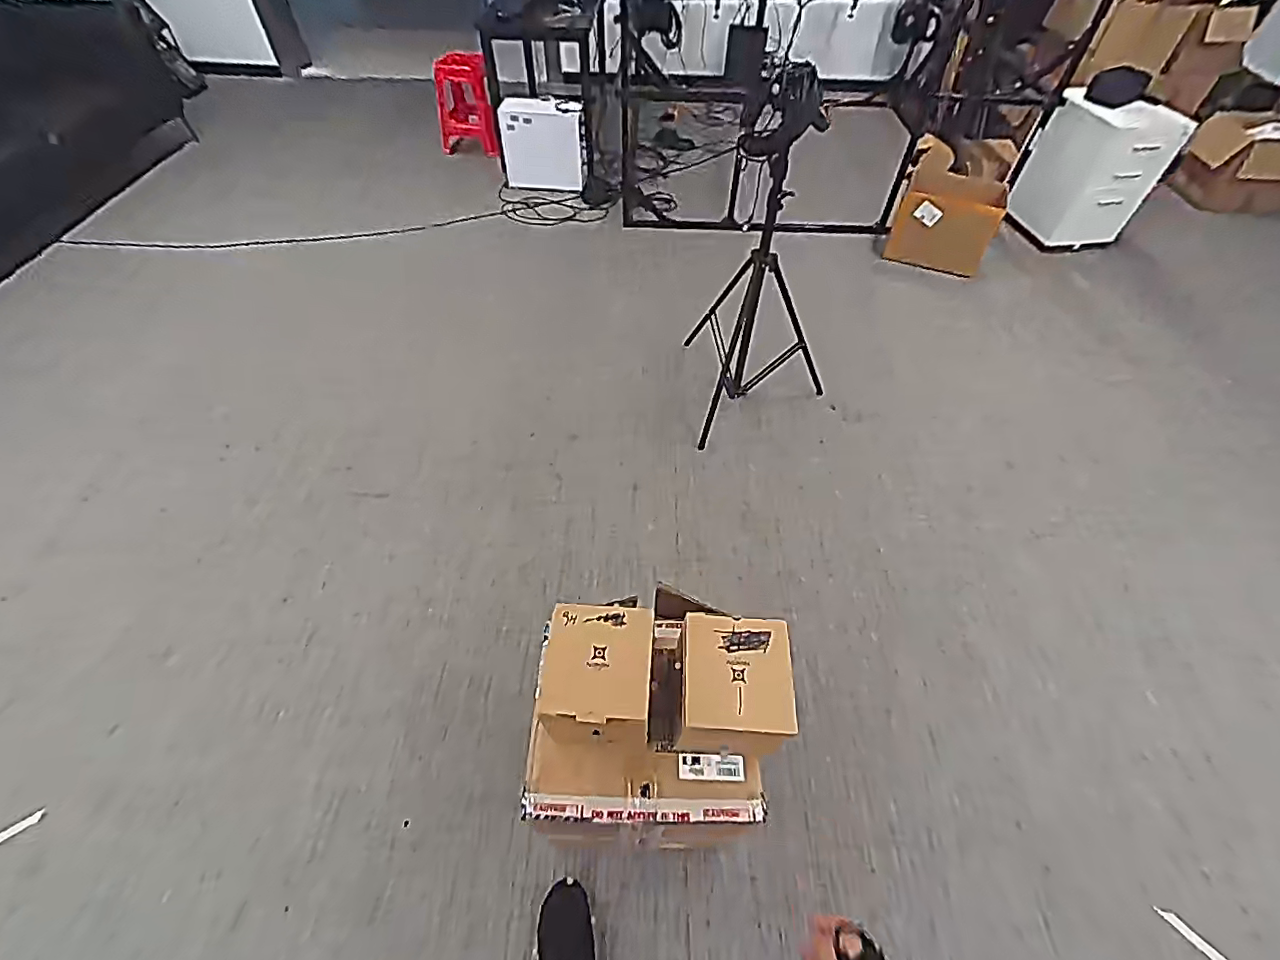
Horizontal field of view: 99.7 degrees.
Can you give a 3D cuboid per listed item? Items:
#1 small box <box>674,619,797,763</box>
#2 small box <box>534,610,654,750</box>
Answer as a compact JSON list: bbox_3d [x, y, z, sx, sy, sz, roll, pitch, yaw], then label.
[{"bbox_3d":[0.145,0.348,0.886,0.168,0.176,0.179,4,53,0],"label":"small box"},{"bbox_3d":[-0.065,0.333,0.890,0.168,0.176,0.179,3,53,3],"label":"small box"}]
